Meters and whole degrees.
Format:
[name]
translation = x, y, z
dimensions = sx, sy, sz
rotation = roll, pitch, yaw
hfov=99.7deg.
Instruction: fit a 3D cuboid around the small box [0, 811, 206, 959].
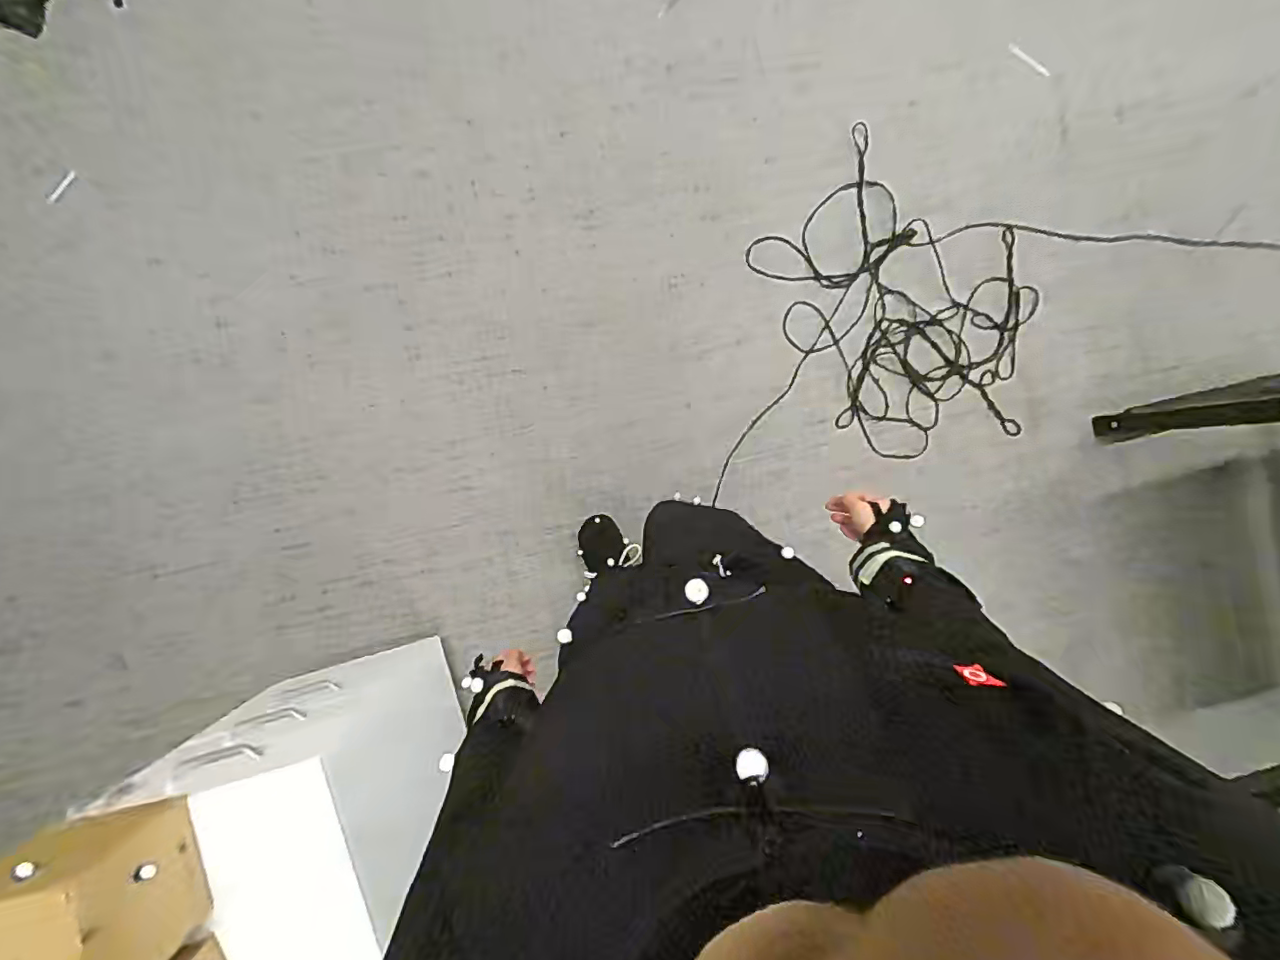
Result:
[small box]
translation = -0.665, 0.534, 0.643
dimensions = 0.179, 0.176, 0.168
rotation = -12, 91, -3
